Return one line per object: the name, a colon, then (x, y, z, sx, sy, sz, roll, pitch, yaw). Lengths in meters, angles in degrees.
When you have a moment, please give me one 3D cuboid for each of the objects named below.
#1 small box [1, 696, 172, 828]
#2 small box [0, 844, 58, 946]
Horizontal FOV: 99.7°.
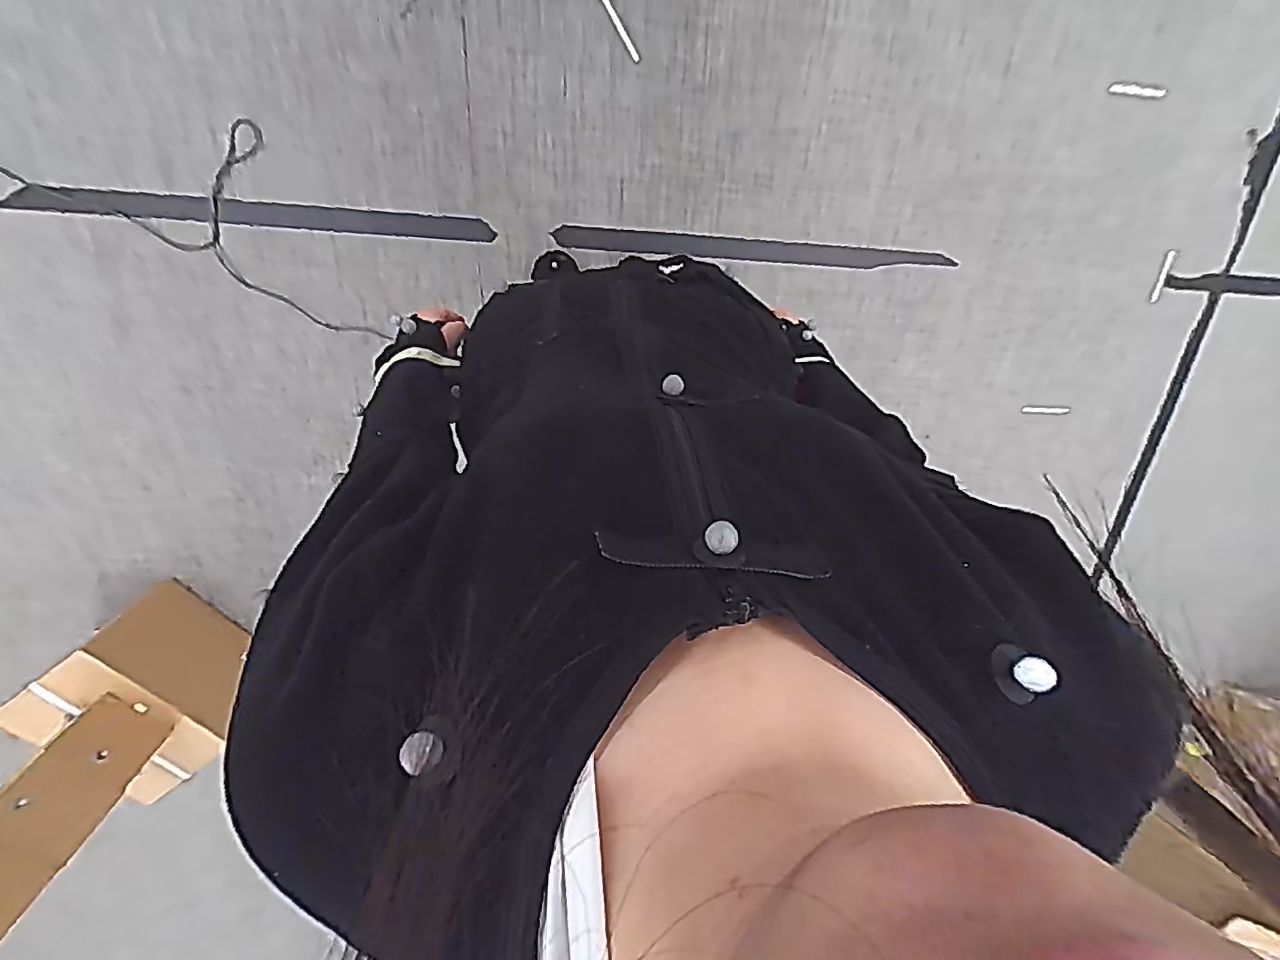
small box: (-1.235, 0.632, 1.225, 0.168, 0.176, 0.179, -38, 110, 7)
small box: (-1.192, 0.752, 0.922, 0.168, 0.176, 0.179, -37, 111, 8)
